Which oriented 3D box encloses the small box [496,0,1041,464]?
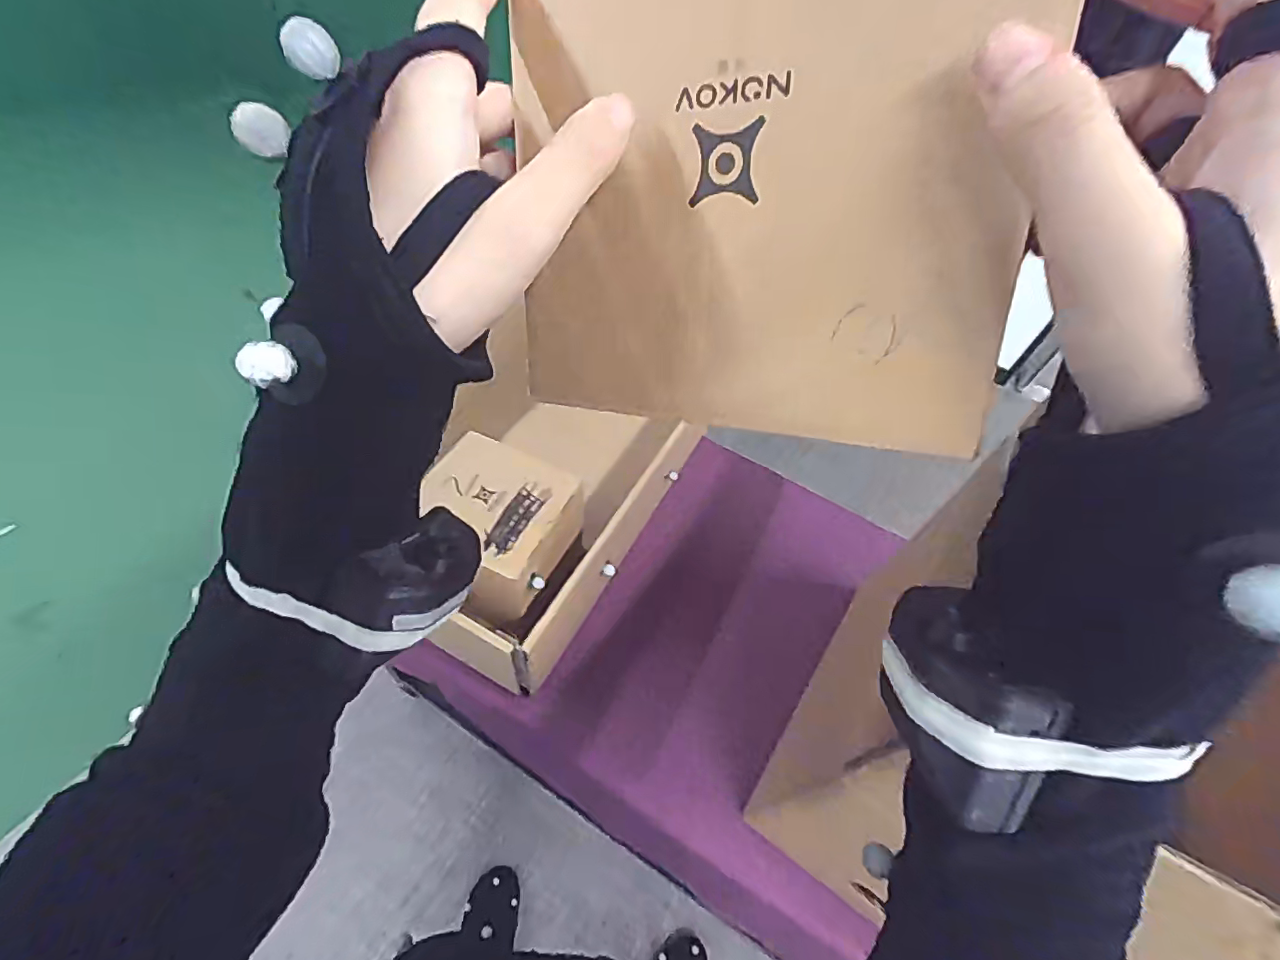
[{"bbox_3d":[0.060,-0.122,0.237,0.168,0.179,0.176,12,21,27],"label":"small box"}]
